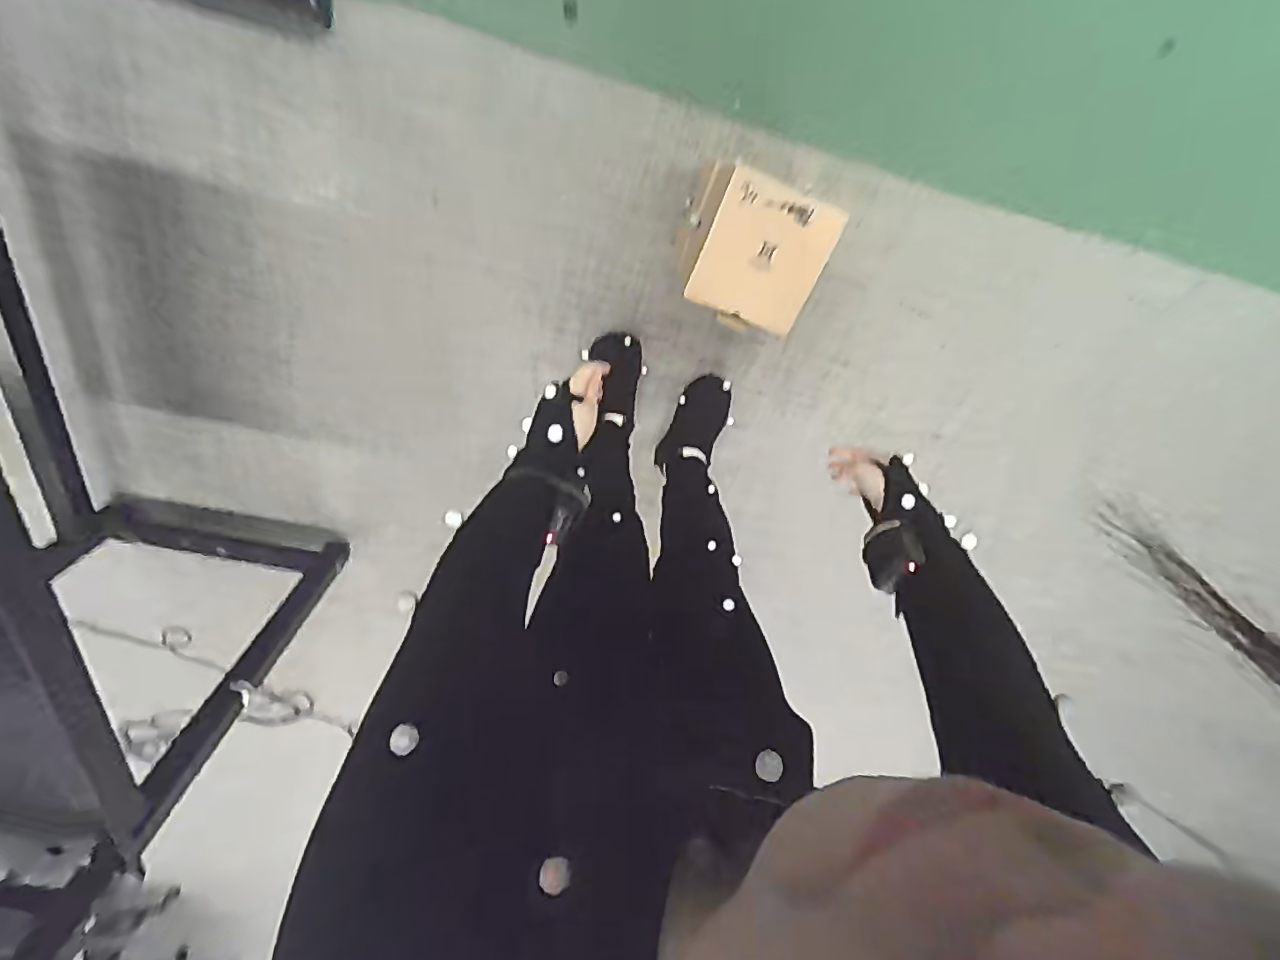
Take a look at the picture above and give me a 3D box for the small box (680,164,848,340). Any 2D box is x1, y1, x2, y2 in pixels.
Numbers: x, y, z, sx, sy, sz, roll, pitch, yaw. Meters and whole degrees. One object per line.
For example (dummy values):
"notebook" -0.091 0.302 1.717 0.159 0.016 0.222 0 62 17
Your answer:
"small box" 0.166 -0.335 0.788 0.168 0.176 0.179 19 120 -10
